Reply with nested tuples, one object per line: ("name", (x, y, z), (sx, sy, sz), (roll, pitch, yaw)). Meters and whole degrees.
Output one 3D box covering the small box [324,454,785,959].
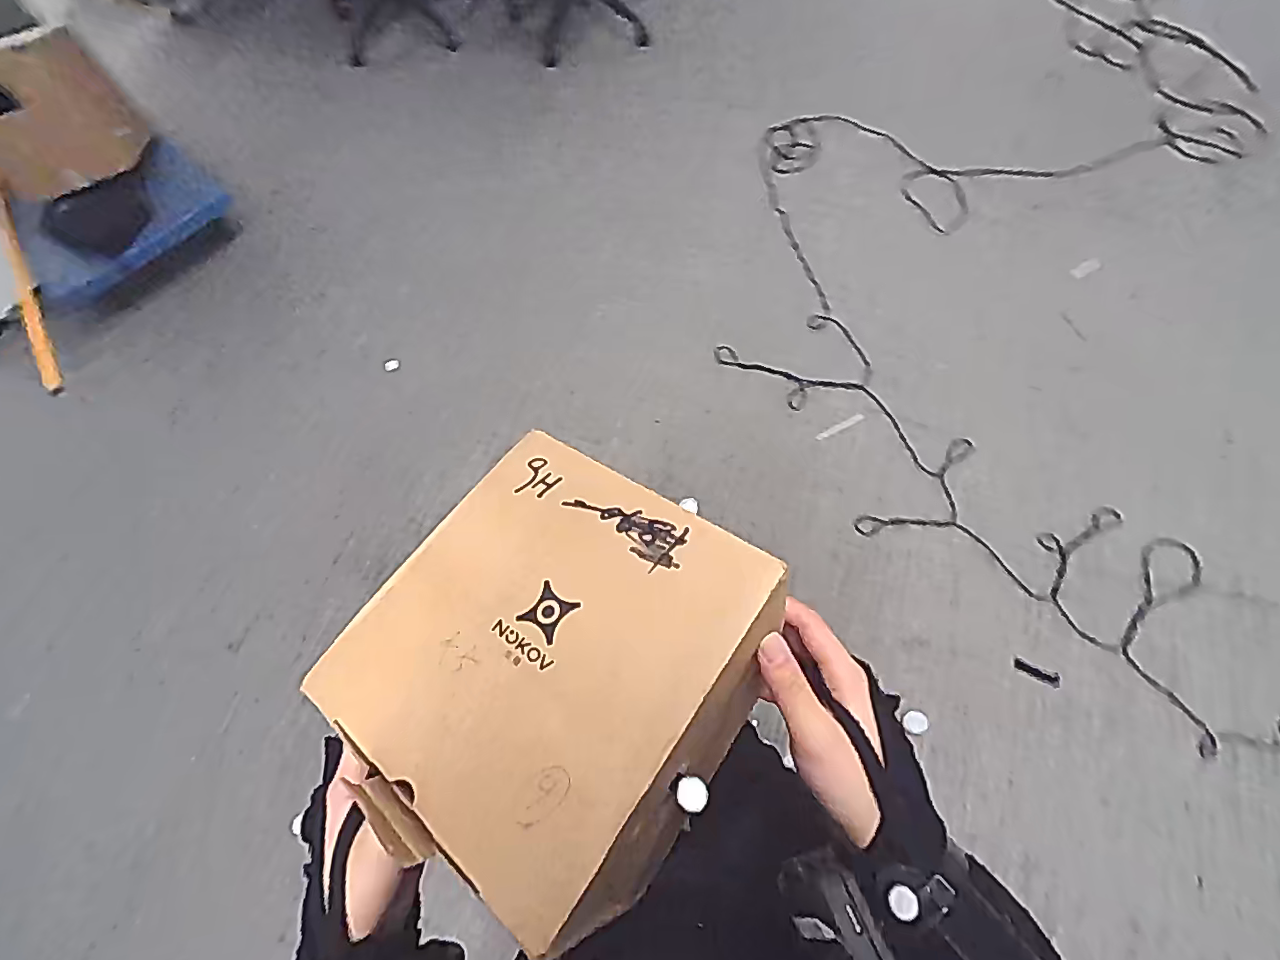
("small box", (-0.027, 0.123, 0.321), (0.168, 0.176, 0.179), (29, 69, 27))
